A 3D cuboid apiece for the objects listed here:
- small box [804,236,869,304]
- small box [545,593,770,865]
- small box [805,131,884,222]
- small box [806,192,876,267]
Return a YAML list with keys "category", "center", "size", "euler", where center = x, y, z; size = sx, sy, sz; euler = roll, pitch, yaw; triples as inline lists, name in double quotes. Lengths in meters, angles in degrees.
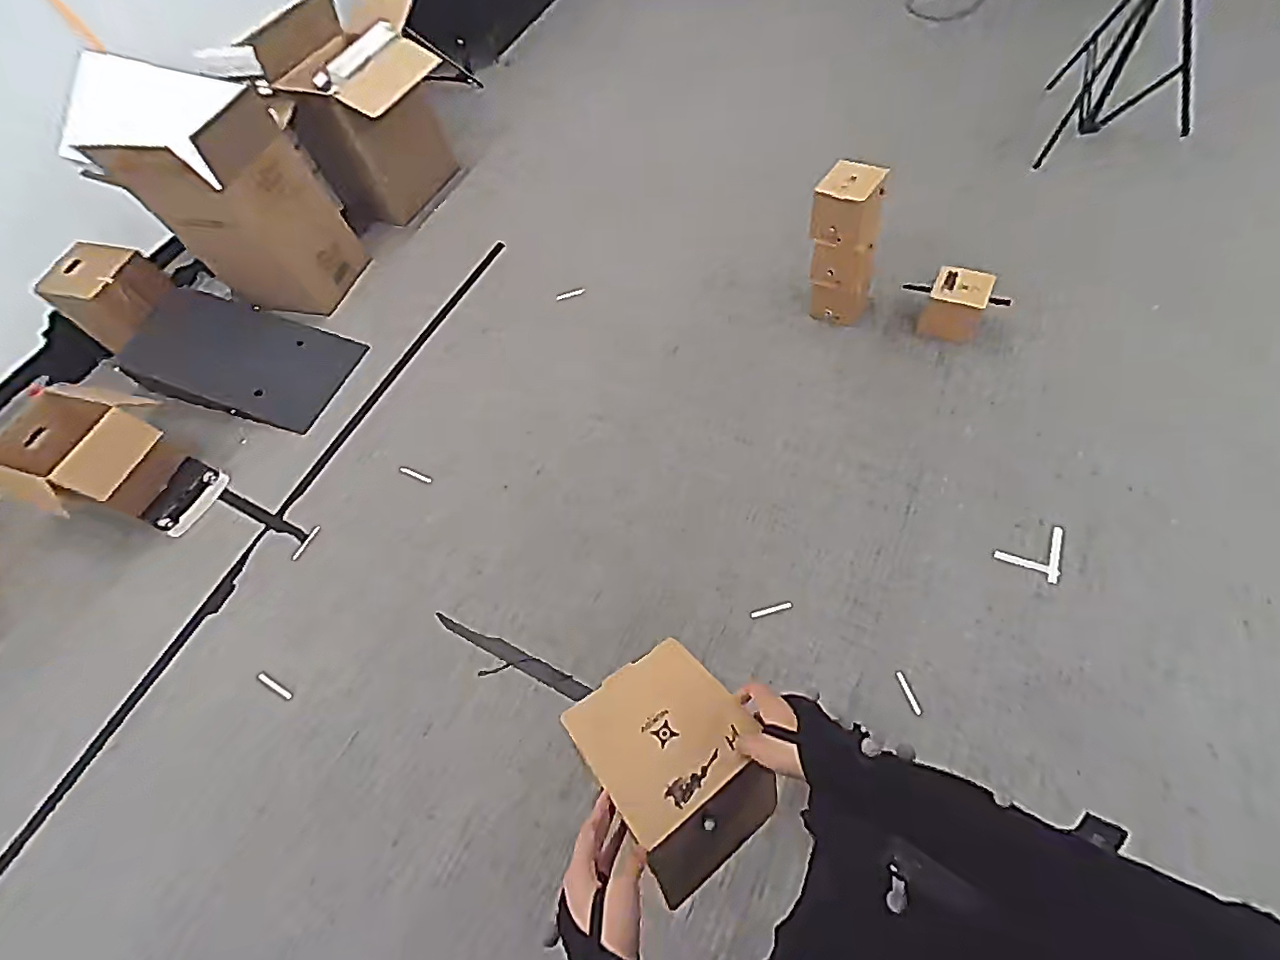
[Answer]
- category: "small box"
  center: [0.708, -0.777, 1.968]
  size: [0.168, 0.176, 0.179]
  euler: [22, 67, 22]
- category: "small box"
  center: [0.021, 0.266, 0.591]
  size: [0.168, 0.176, 0.179]
  euler: [-29, 41, -22]
- category: "small box"
  center: [0.635, -0.954, 1.703]
  size: [0.168, 0.176, 0.179]
  euler: [31, 71, 25]
- category: "small box"
  center: [0.674, -0.862, 1.834]
  size: [0.168, 0.176, 0.179]
  euler: [25, 69, 23]
